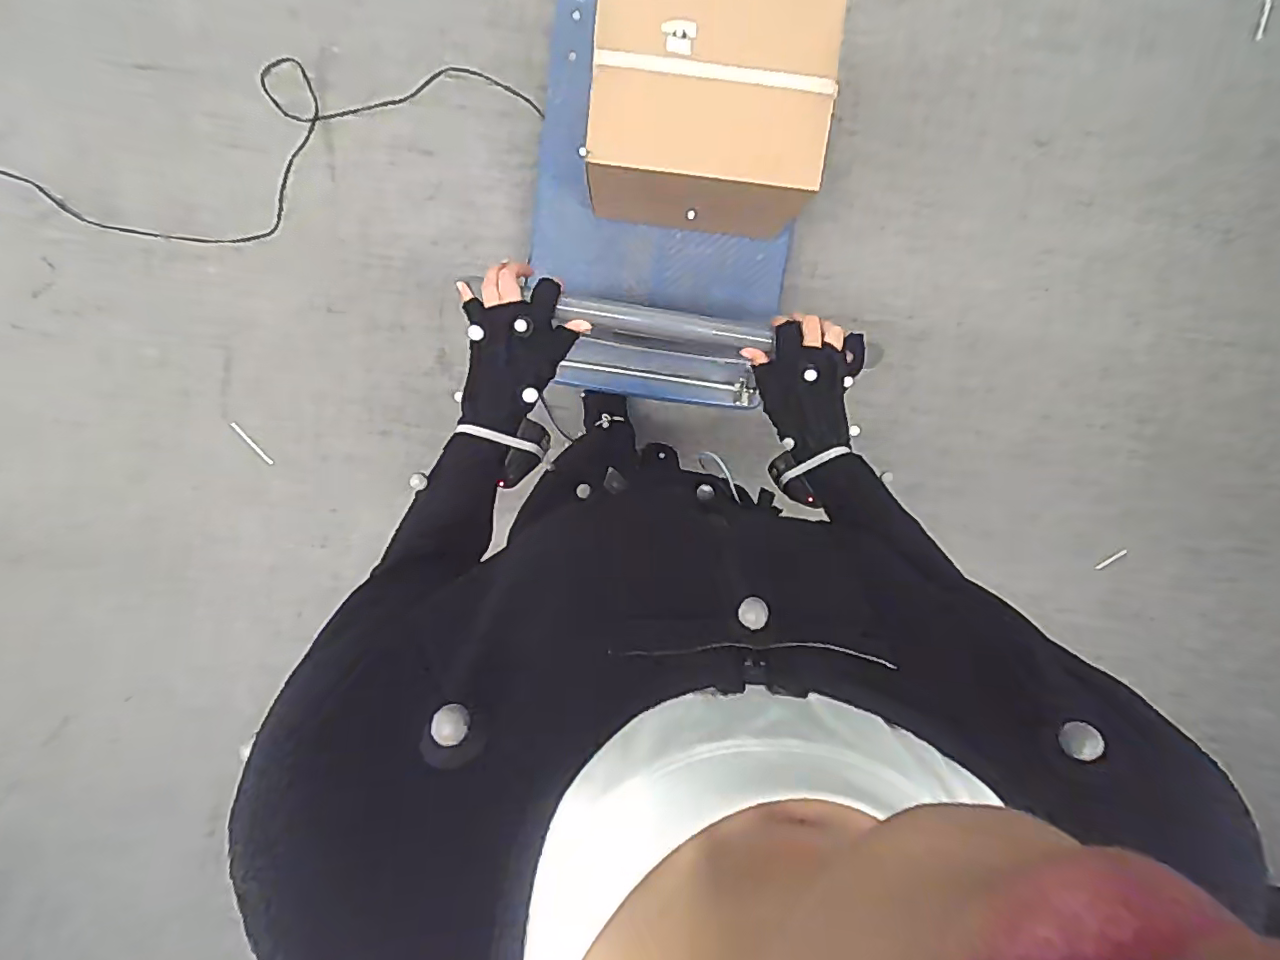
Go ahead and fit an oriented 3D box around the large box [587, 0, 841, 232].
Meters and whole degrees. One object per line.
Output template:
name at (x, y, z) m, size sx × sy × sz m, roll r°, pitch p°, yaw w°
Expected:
large box at (0.119, -0.697, 1.042) m, size 0.408 × 0.320 × 0.320 m, roll 6°, pitch 98°, yaw -2°
